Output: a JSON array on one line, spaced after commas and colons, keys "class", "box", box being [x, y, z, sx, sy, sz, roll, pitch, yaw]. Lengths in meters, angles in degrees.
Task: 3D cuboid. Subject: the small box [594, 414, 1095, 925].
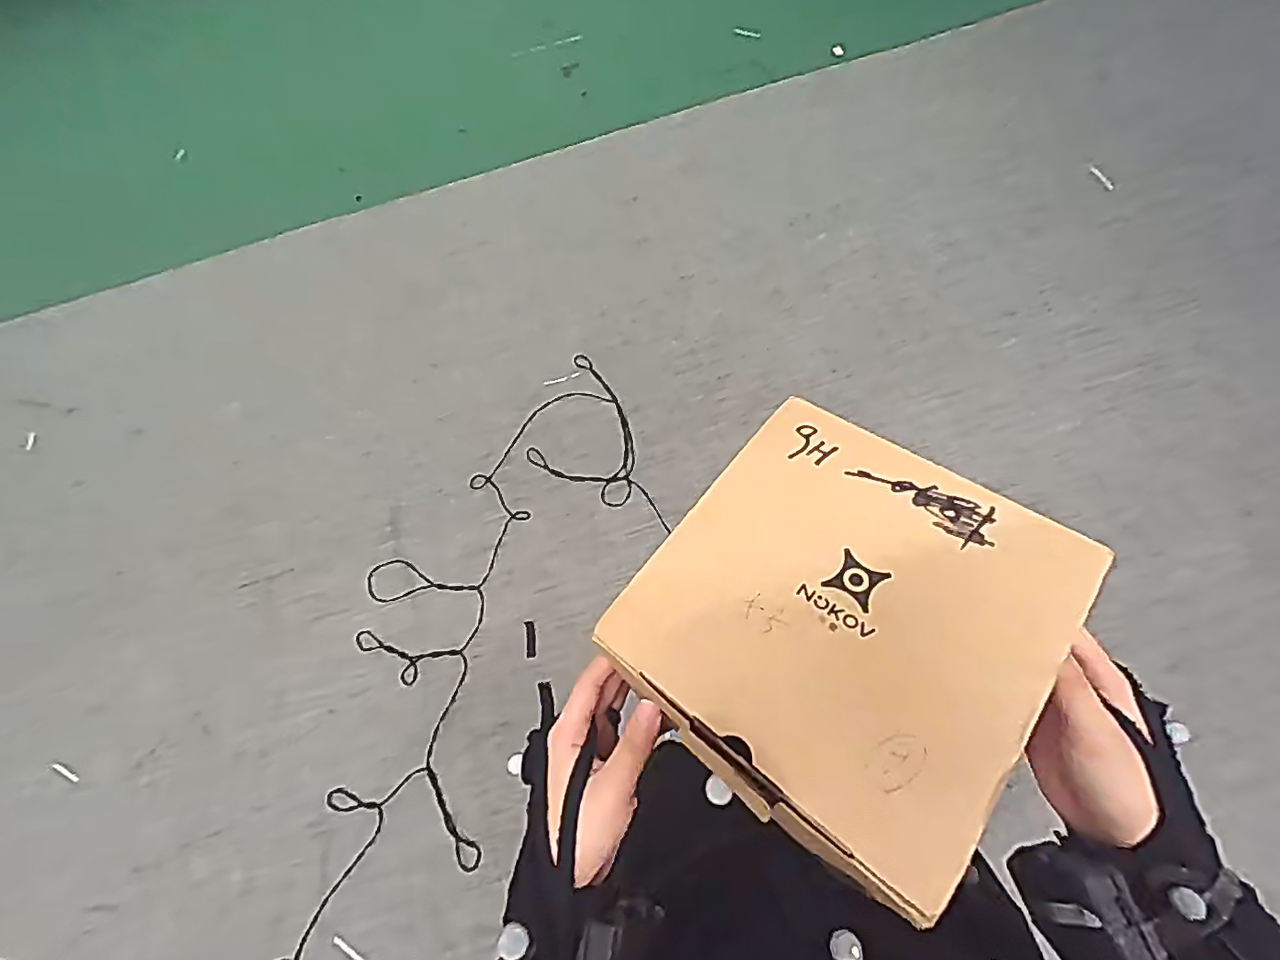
[{"class": "small box", "box": [0.104, 0.102, 0.320, 0.168, 0.176, 0.179, 33, 70, 26]}]
